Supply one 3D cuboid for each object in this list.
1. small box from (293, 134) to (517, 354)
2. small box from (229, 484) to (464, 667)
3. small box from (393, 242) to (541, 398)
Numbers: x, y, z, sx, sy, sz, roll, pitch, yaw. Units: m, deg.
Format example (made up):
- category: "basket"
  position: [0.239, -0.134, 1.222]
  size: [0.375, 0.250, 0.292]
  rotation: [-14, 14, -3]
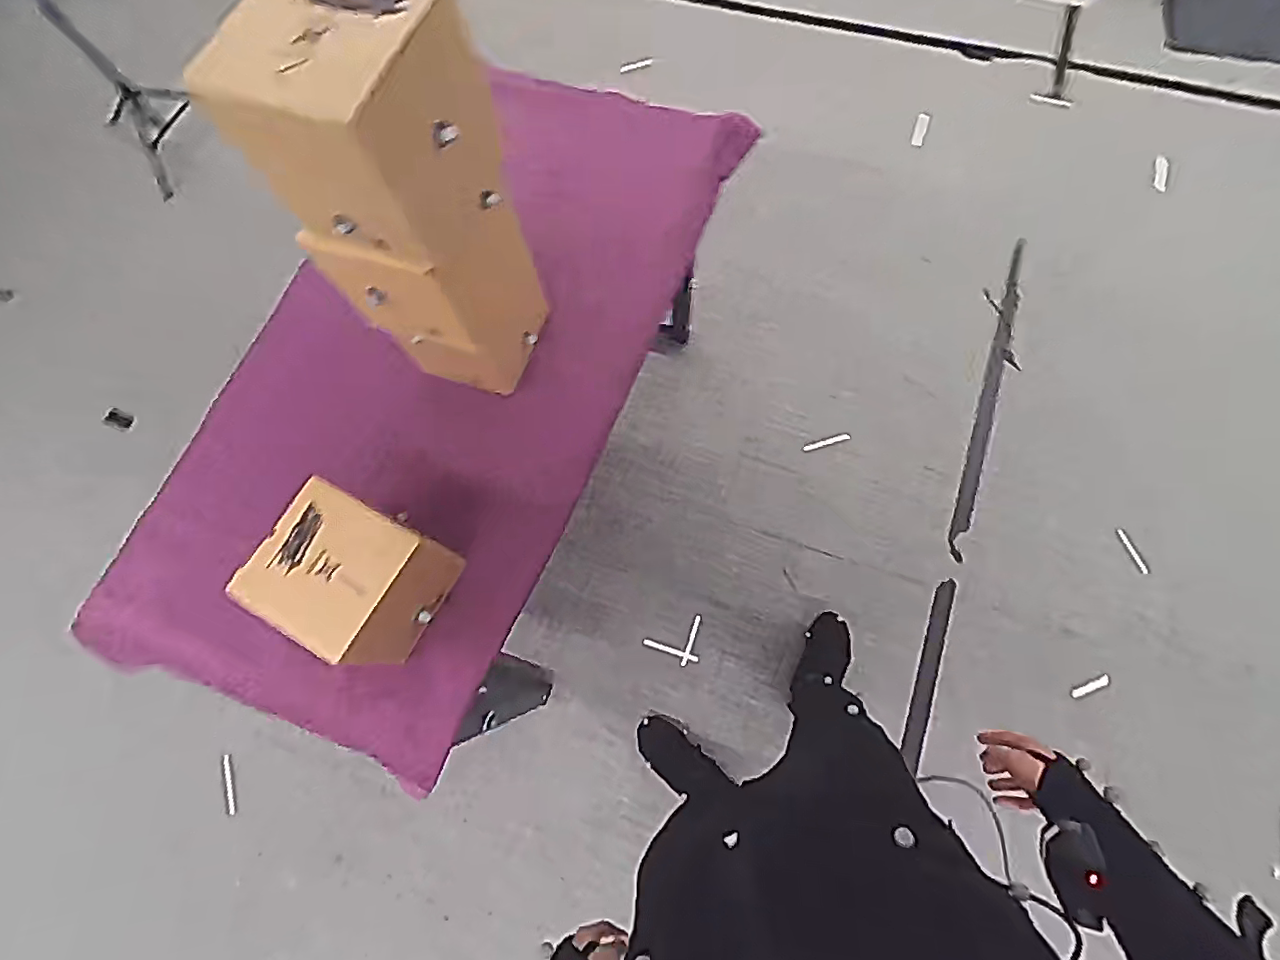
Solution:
- category: "small box"
  position: [-0.273, -0.284, 0.676]
  size: [0.168, 0.176, 0.179]
  rotation: [15, 74, 9]
- category: "small box"
  position: [-0.372, 0.133, 0.721]
  size: [0.179, 0.176, 0.168]
  rotation: [27, 76, 11]
- category: "small box"
  position: [-0.266, -0.255, 0.838]
  size: [0.168, 0.176, 0.179]
  rotation: [15, 73, 9]
